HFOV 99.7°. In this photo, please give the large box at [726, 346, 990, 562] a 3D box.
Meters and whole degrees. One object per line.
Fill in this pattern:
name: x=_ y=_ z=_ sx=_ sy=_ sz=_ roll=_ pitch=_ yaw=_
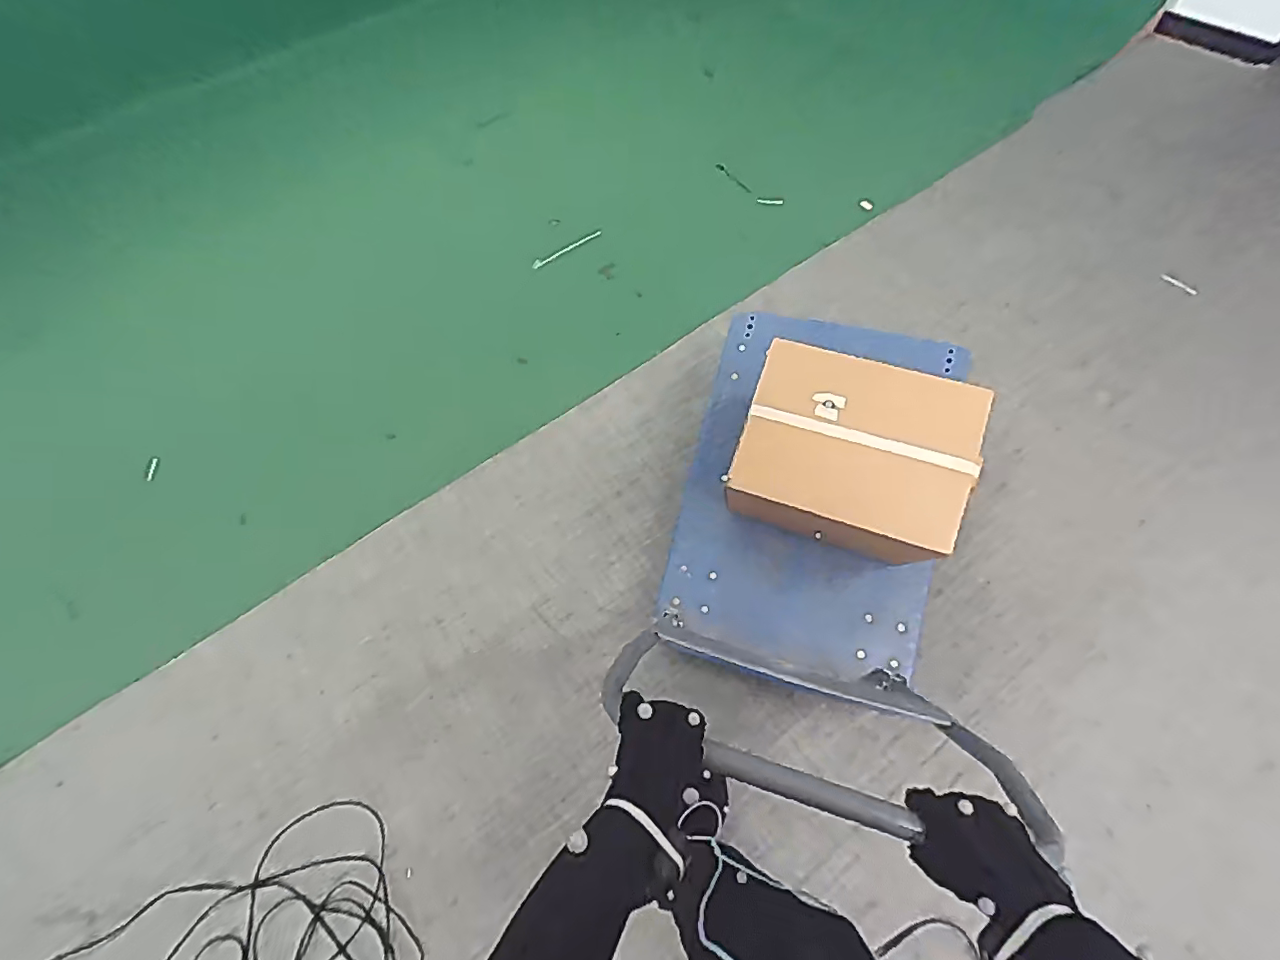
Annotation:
large box: x=0.424 y=-0.037 z=1.132 sx=0.408 sy=0.320 sz=0.320 roll=18 pitch=82 yaw=14
